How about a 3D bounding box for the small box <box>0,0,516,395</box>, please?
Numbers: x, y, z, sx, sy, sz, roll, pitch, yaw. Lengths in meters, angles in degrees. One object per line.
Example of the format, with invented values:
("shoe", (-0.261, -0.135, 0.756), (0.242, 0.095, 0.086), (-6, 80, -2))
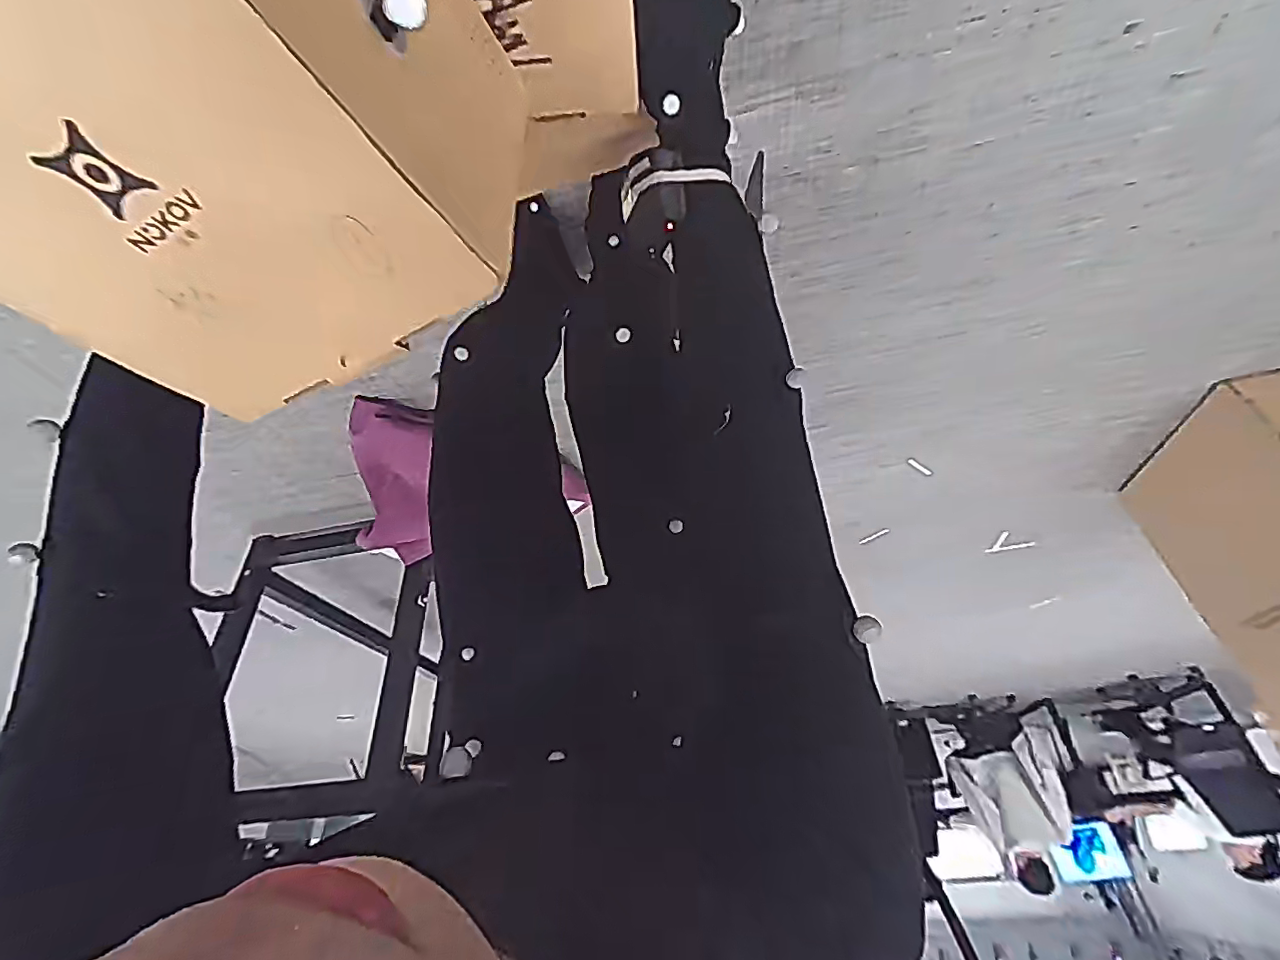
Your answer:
("small box", (-0.166, -0.170, 0.215), (0.168, 0.176, 0.179), (-18, 145, 21))
